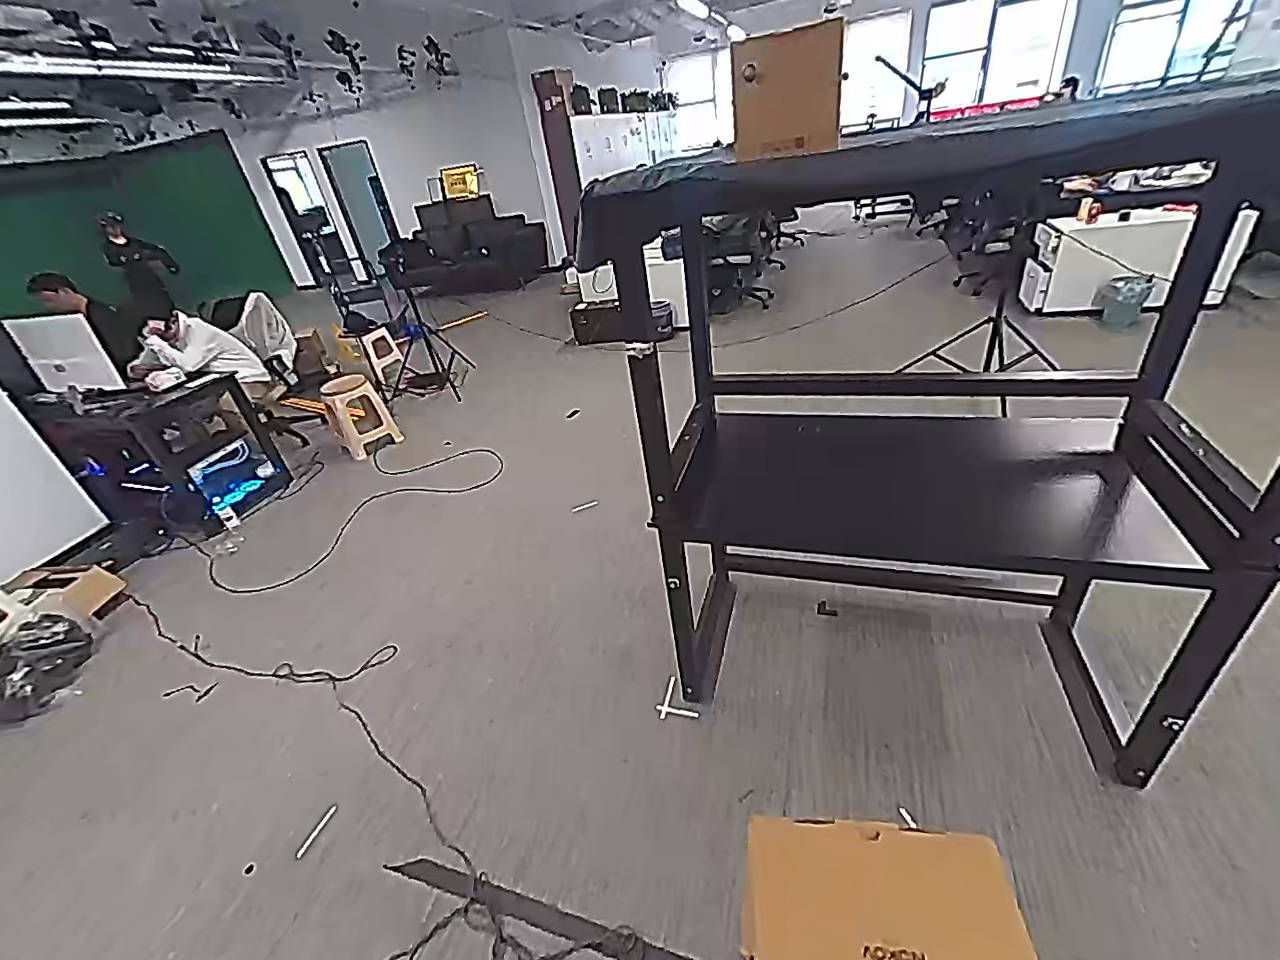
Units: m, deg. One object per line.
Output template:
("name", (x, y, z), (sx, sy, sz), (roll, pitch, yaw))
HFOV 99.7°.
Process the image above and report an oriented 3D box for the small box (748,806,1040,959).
("small box", (0.160, 0.356, 0.362), (0.168, 0.176, 0.179), (0, 33, 8))
